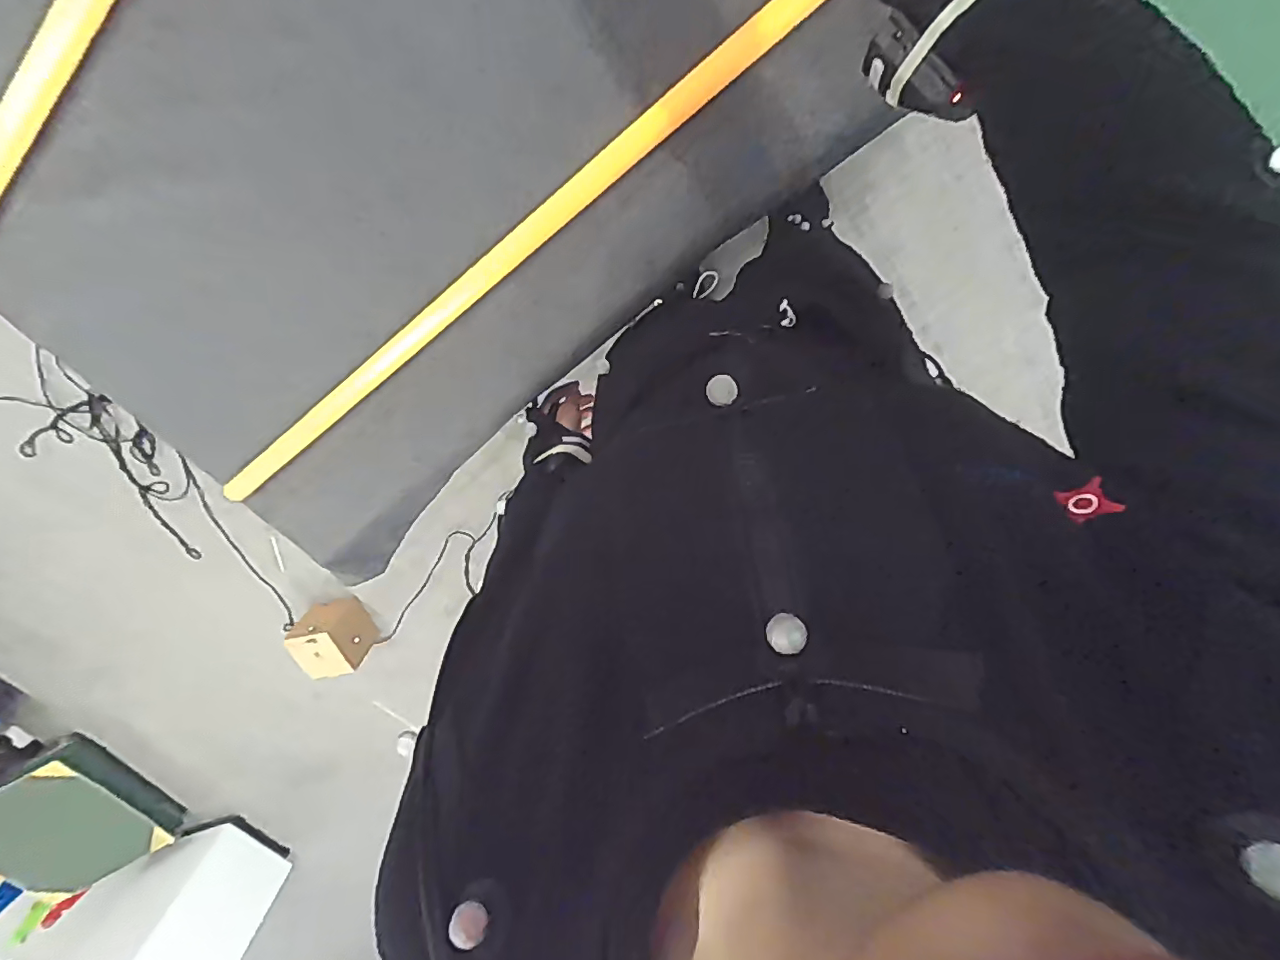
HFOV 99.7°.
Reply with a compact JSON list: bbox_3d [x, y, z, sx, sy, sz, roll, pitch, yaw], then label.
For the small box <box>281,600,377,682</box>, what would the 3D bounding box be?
[{"bbox_3d":[-0.982,0.514,1.729,0.168,0.176,0.179,-13,117,11],"label":"small box"}]
